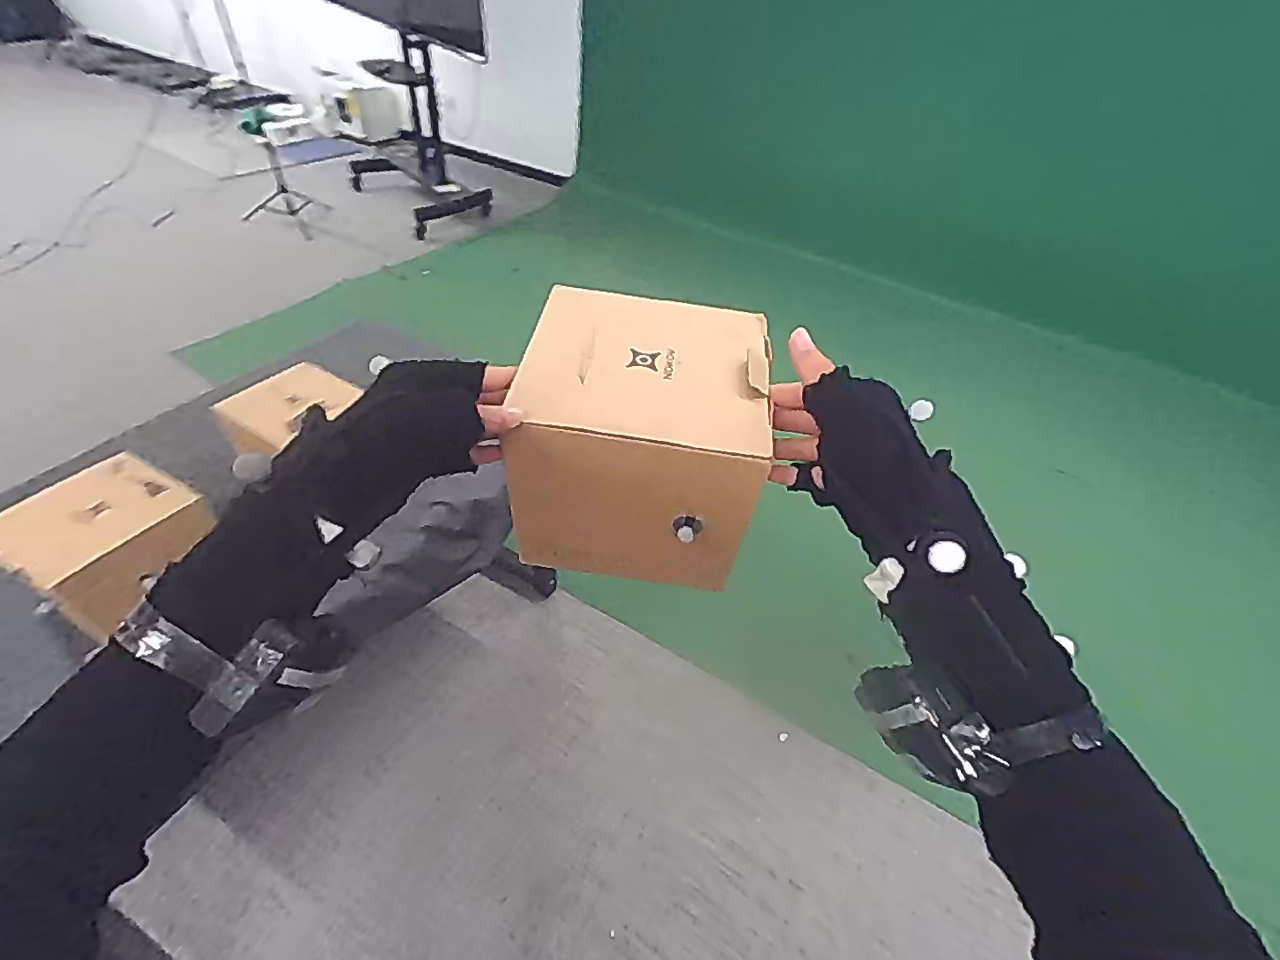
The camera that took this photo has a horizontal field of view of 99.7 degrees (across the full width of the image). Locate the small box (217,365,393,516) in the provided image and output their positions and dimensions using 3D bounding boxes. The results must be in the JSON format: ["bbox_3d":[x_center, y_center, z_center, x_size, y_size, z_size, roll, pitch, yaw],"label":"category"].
[{"bbox_3d":[-0.559,-0.063,0.930,0.179,0.176,0.168,25,47,17],"label":"small box"}]

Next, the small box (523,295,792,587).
[{"bbox_3d":[0.014,-0.028,0.453,0.179,0.176,0.168,8,48,2],"label":"small box"}]

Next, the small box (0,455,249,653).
[{"bbox_3d":[-0.697,0.103,0.743,0.168,0.176,0.179,24,47,15],"label":"small box"}]
